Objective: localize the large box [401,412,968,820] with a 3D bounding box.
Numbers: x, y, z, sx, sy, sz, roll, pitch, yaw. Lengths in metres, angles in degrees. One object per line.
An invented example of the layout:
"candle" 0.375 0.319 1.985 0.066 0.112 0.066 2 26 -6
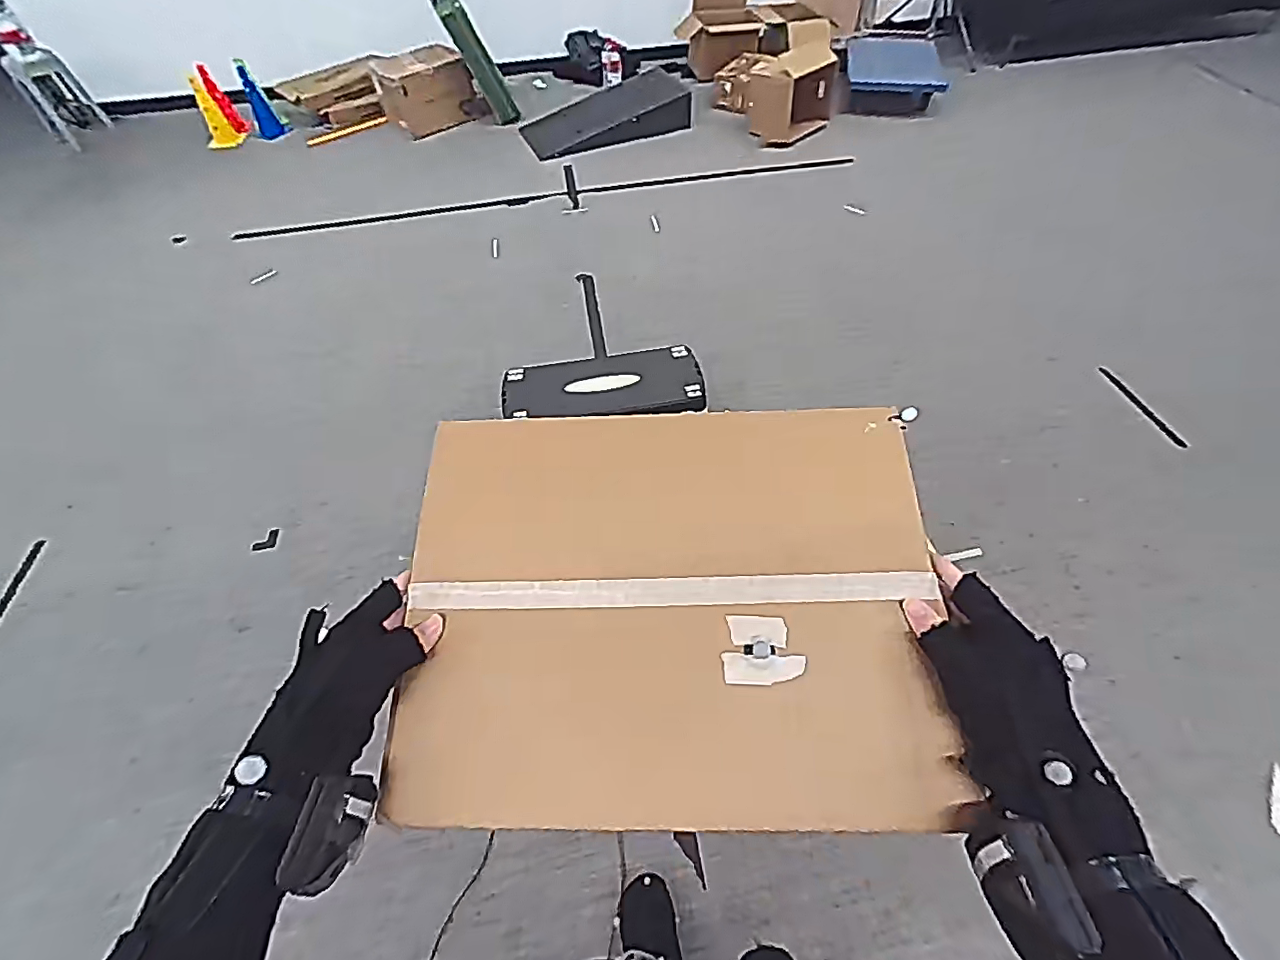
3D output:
"large box" 0.030 0.148 0.568 0.408 0.320 0.320 -2 67 3

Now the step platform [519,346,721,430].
"step platform" -0.068 -0.265 1.866 0.684 0.204 0.286 -9 54 -5
